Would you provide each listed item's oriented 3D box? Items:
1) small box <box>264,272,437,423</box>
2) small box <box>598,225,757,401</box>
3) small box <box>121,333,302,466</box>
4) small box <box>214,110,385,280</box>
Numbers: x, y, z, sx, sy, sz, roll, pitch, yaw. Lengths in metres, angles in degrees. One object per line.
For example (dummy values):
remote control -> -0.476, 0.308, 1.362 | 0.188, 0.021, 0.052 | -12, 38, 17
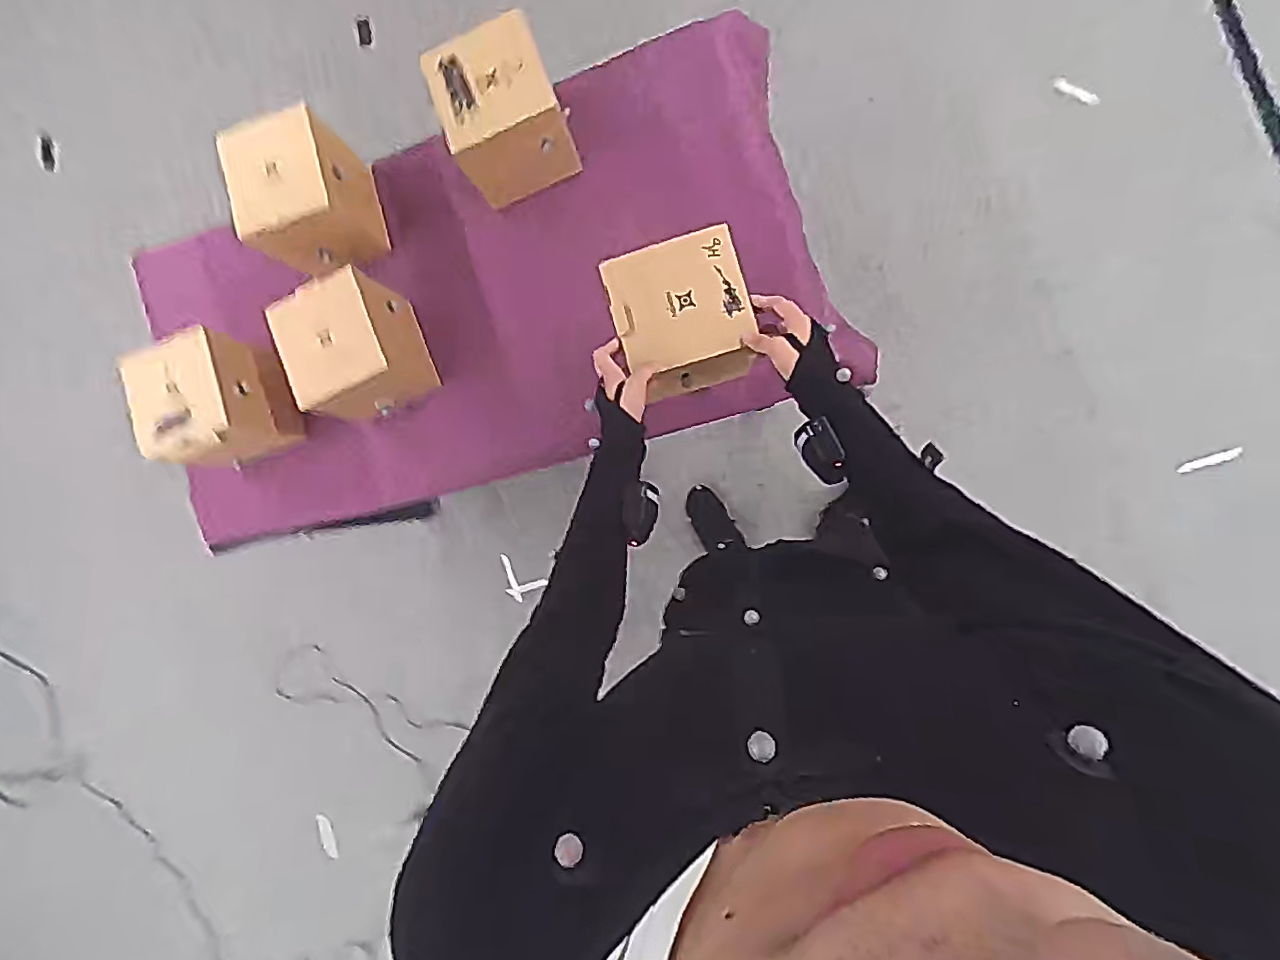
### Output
small box -> -0.482, -0.214, 0.922 | 0.168, 0.176, 0.179 | -23, 86, 8
small box -> 0.056, -0.223, 0.773 | 0.179, 0.176, 0.168 | -16, 86, 6
small box -> -0.741, -0.129, 0.953 | 0.168, 0.176, 0.179 | -20, 85, 7
small box -> -0.577, -0.480, 0.936 | 0.168, 0.176, 0.179 | -16, 87, 6
